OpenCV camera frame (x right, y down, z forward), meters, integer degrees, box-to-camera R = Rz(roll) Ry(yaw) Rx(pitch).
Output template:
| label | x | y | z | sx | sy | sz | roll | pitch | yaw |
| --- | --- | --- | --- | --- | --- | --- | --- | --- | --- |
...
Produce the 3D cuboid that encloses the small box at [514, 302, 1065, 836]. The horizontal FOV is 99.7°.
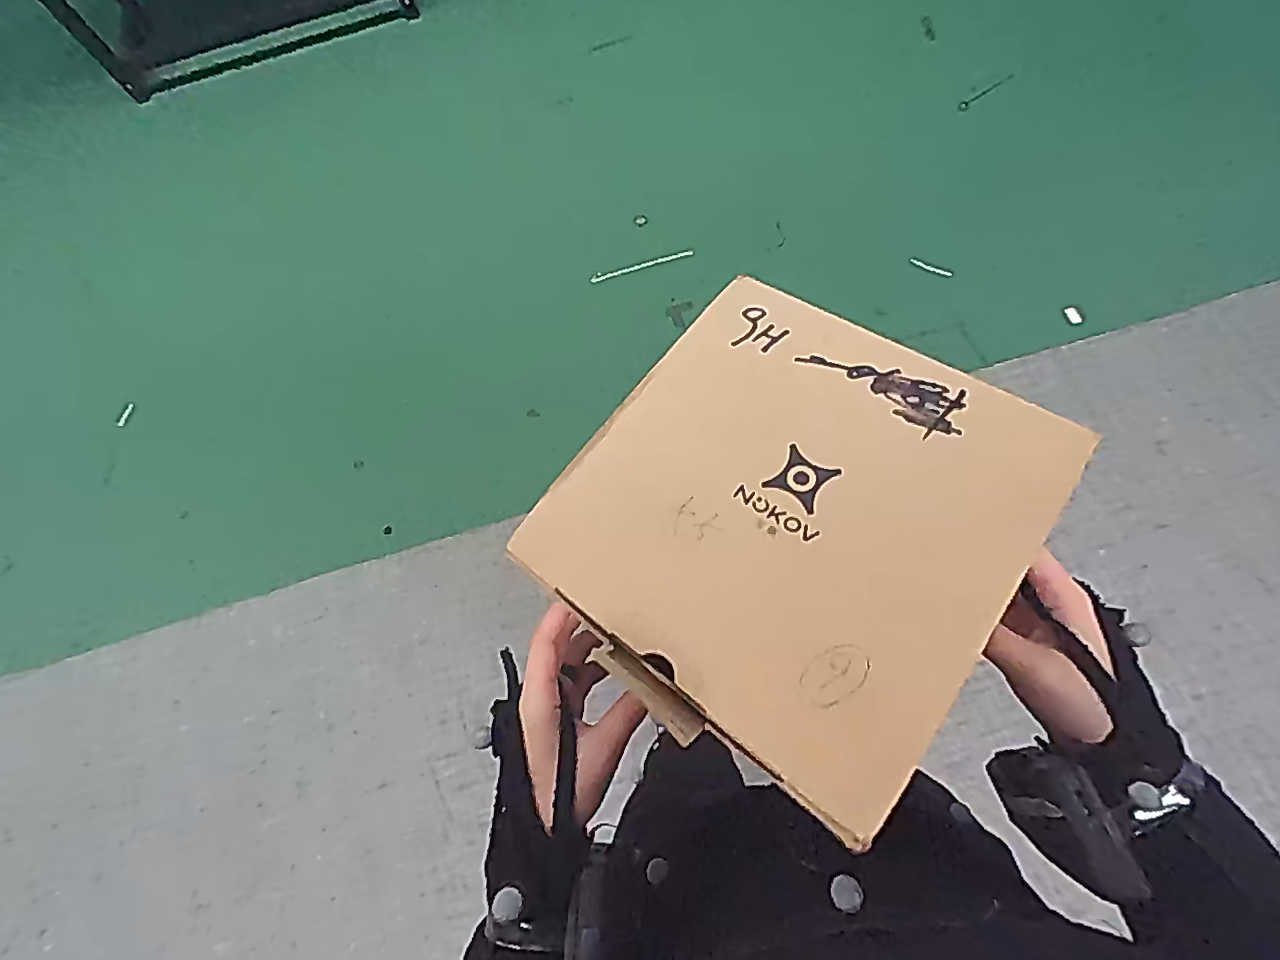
| label | x | y | z | sx | sy | sz | roll | pitch | yaw |
| --- | --- | --- | --- | --- | --- | --- | --- | --- | --- |
| small box | 0.070 | 0.047 | 0.298 | 0.168 | 0.176 | 0.179 | 34 | 74 | 22 |
